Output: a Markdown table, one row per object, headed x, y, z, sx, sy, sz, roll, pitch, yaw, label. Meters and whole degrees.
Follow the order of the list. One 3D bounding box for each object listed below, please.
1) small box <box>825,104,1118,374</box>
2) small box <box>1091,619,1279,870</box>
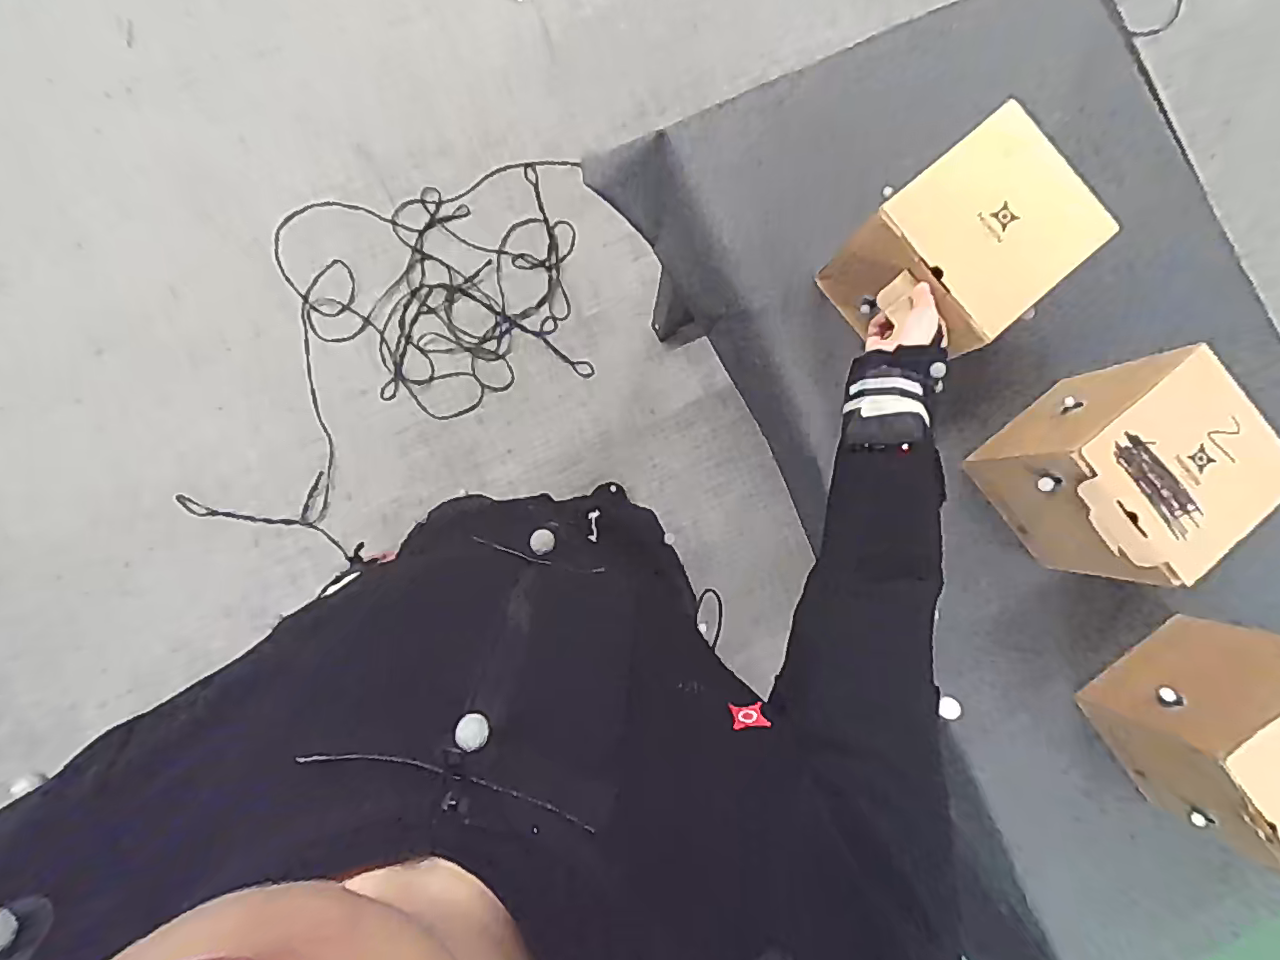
| x | y | z | sx | sy | sz | roll | pitch | yaw | label |
| --- | --- | --- | --- | --- | --- | --- | --- | --- | --- |
| 0.340 | -0.243 | 0.592 | 0.179 | 0.176 | 0.168 | -40 | 91 | -3 | small box |
| 0.653 | 0.280 | 0.592 | 0.179 | 0.176 | 0.168 | -36 | 91 | -4 | small box |
